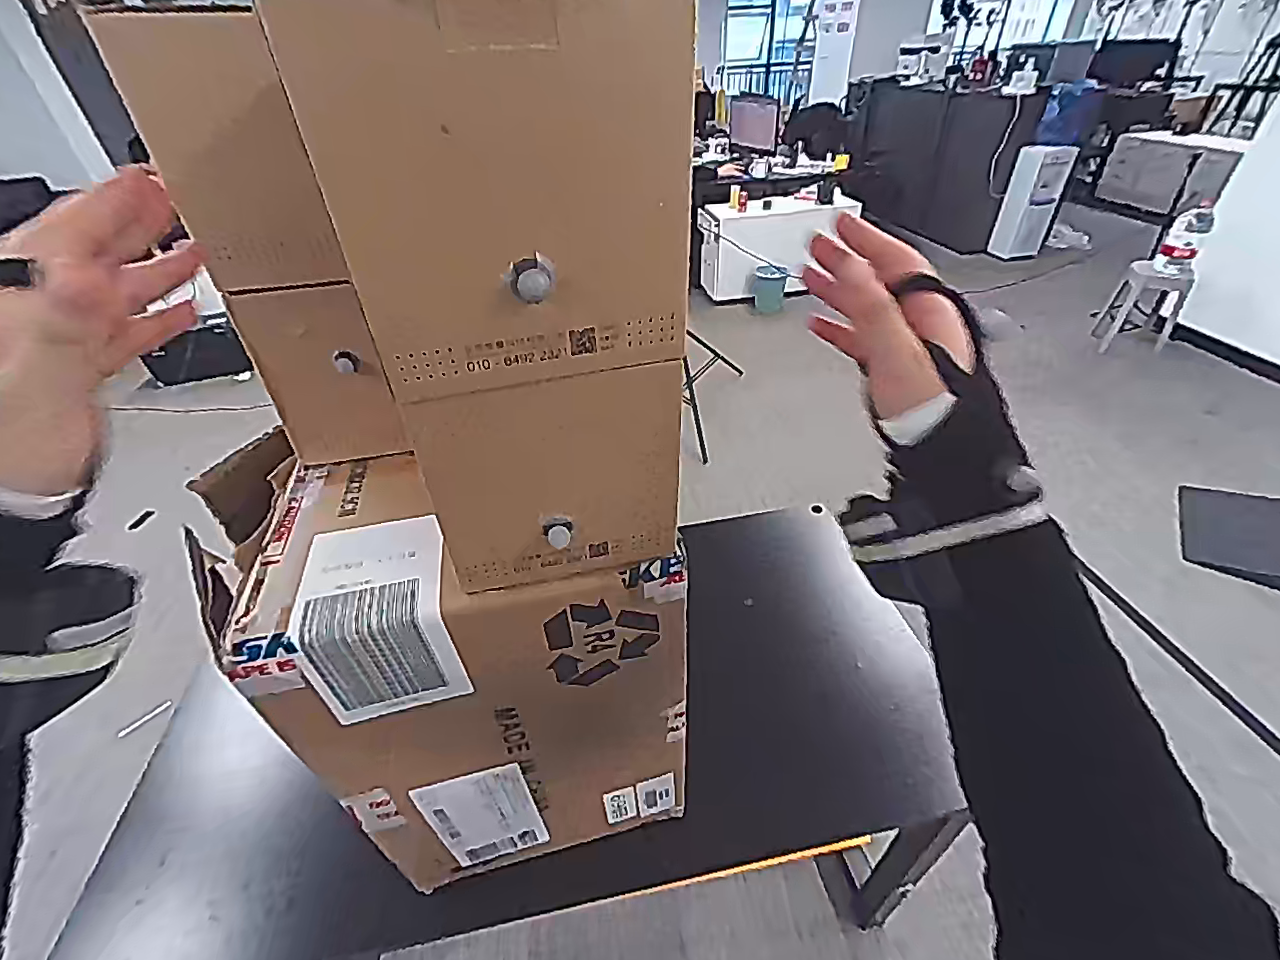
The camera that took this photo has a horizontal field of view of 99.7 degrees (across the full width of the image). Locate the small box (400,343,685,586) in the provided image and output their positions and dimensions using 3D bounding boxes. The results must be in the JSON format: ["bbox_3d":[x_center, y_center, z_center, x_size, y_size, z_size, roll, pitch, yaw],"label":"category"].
[{"bbox_3d":[-0.071,-0.047,0.422,0.168,0.176,0.179,-10,40,-10],"label":"small box"}]

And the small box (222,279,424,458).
[{"bbox_3d":[-0.258,-0.138,0.544,0.179,0.176,0.168,-10,37,-10],"label":"small box"}]

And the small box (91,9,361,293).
[{"bbox_3d":[-0.261,-0.267,0.444,0.179,0.176,0.168,-12,37,-13],"label":"small box"}]

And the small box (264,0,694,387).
[{"bbox_3d":[-0.078,-0.174,0.315,0.168,0.176,0.179,-12,40,-12],"label":"small box"}]
